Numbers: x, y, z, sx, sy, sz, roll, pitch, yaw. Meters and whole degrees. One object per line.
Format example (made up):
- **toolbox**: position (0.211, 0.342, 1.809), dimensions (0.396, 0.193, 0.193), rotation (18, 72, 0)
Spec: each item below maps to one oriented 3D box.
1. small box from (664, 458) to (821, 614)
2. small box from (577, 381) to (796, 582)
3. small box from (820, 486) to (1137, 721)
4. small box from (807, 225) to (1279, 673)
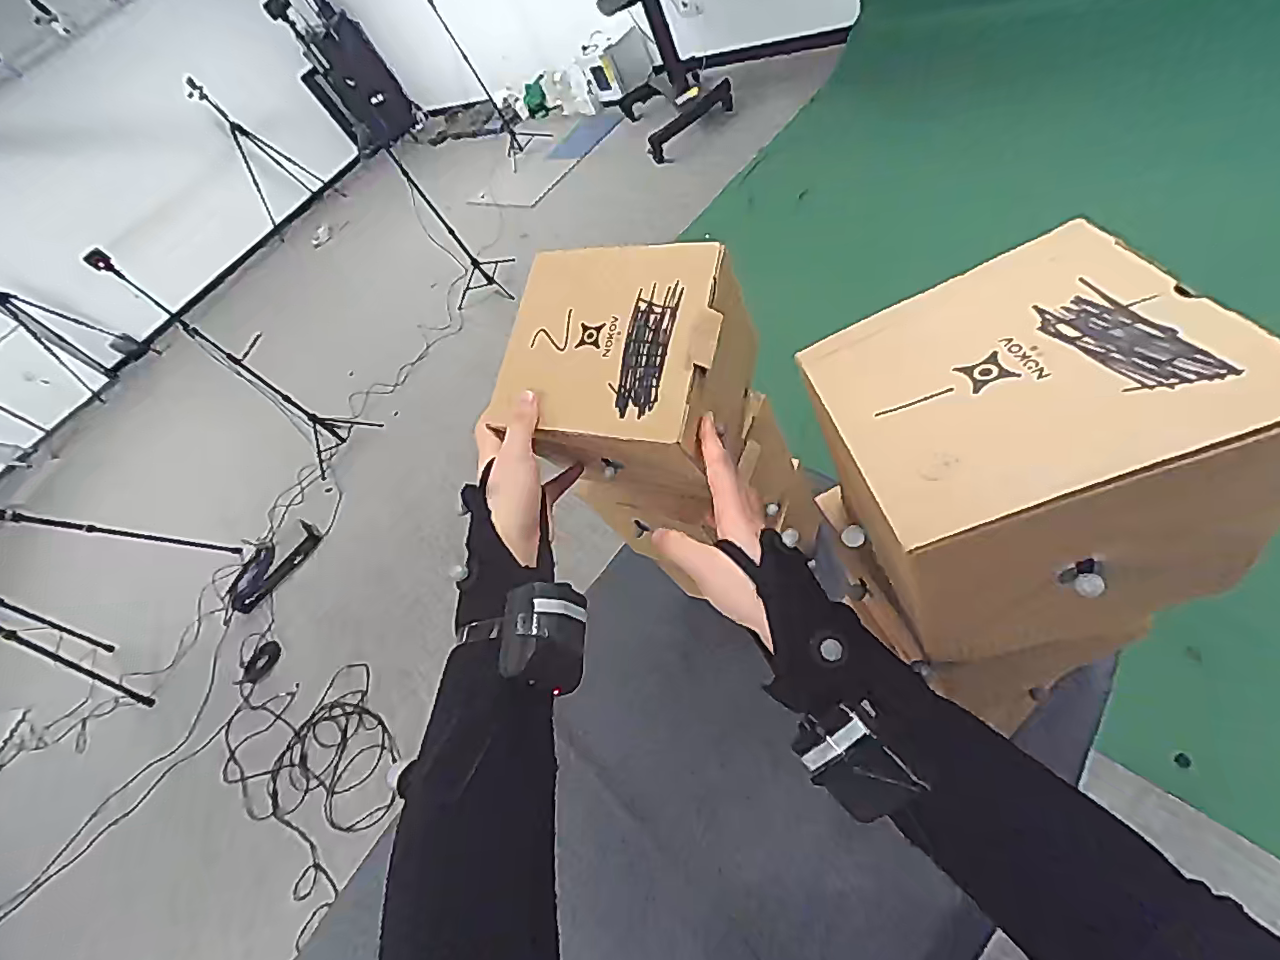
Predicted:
- **small box**: position (0.144, 0.076, 0.771), dimensions (0.179, 0.176, 0.168), rotation (6, 63, 31)
- **small box**: position (0.064, 0.004, 0.646), dimensions (0.179, 0.176, 0.168), rotation (13, 68, 35)
- **small box**: position (0.286, 0.076, 0.458), dimensions (0.179, 0.176, 0.168), rotation (-30, 44, 8)
- **small box**: position (0.226, -0.006, 0.326), dimensions (0.179, 0.176, 0.168), rotation (-23, 45, 16)
